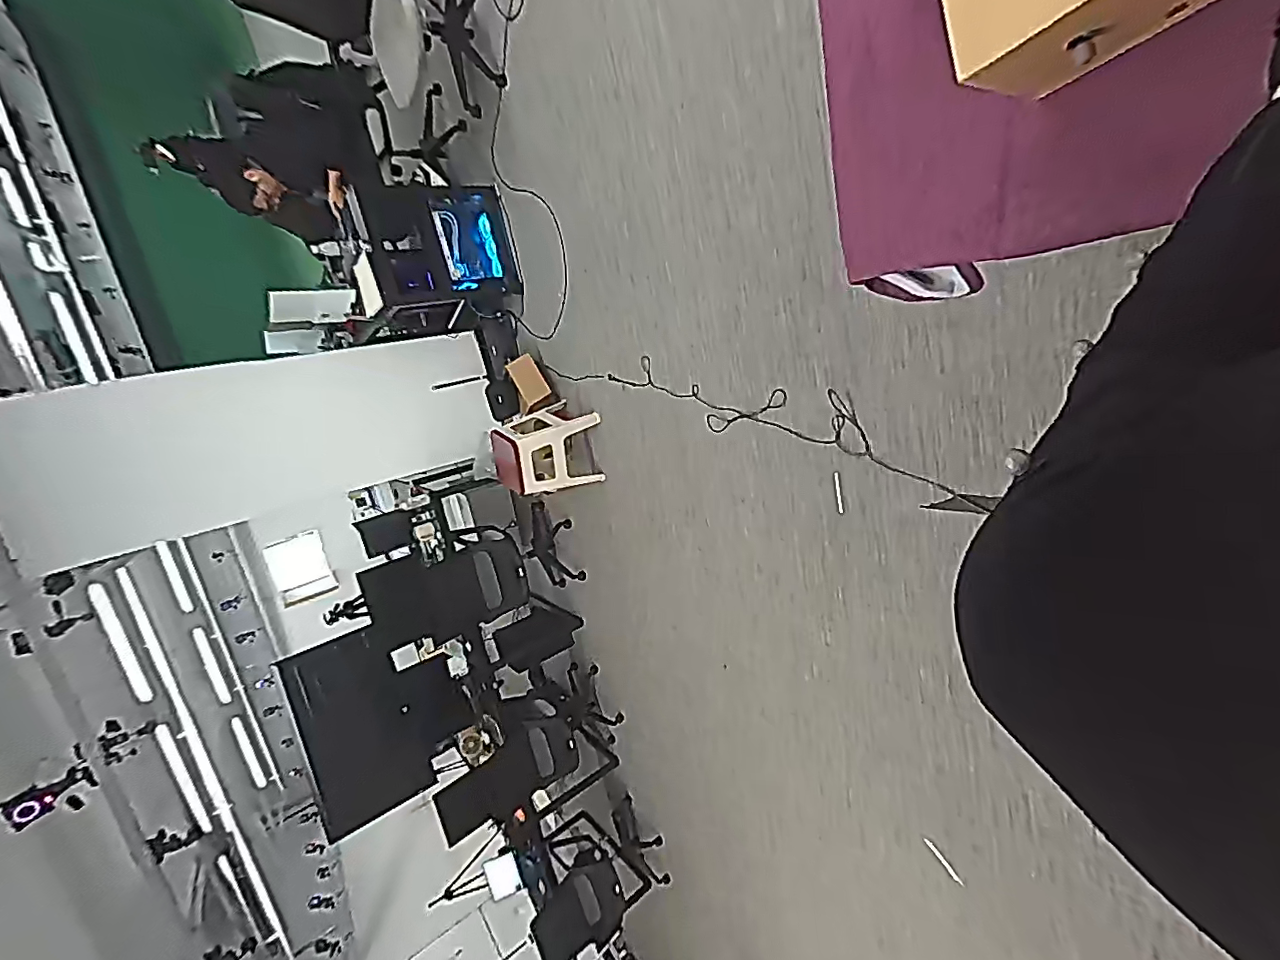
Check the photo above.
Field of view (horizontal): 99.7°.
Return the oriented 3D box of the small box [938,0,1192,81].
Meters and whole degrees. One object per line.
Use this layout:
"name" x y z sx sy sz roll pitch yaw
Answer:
"small box" 0.337 -0.433 0.398 0.168 0.176 0.179 -7 101 57
